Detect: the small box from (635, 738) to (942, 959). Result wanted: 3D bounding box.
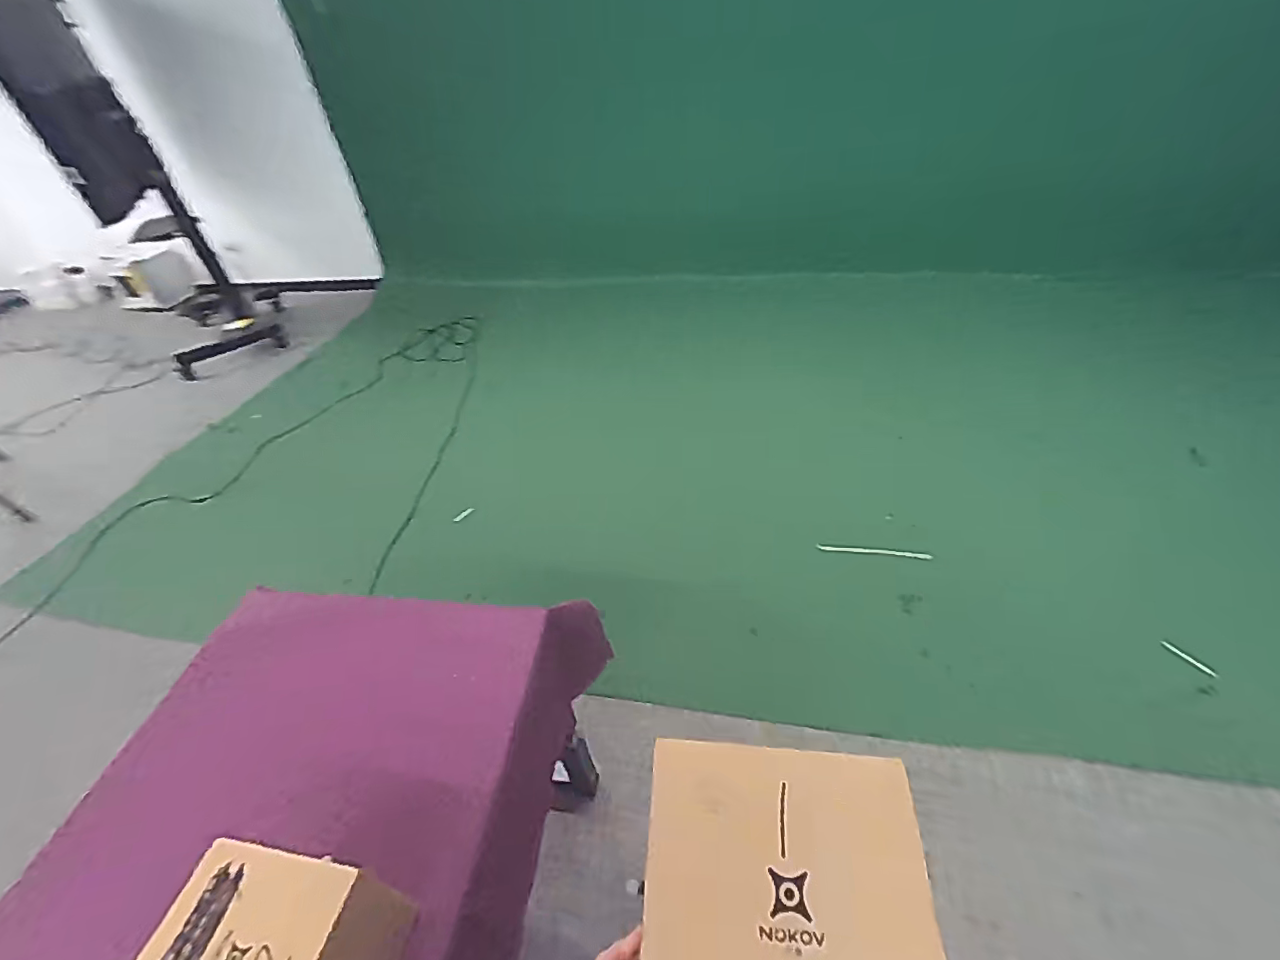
[{"bbox_3d":[0.085,0.297,0.364,0.168,0.176,0.179,3,49,6],"label":"small box"}]
